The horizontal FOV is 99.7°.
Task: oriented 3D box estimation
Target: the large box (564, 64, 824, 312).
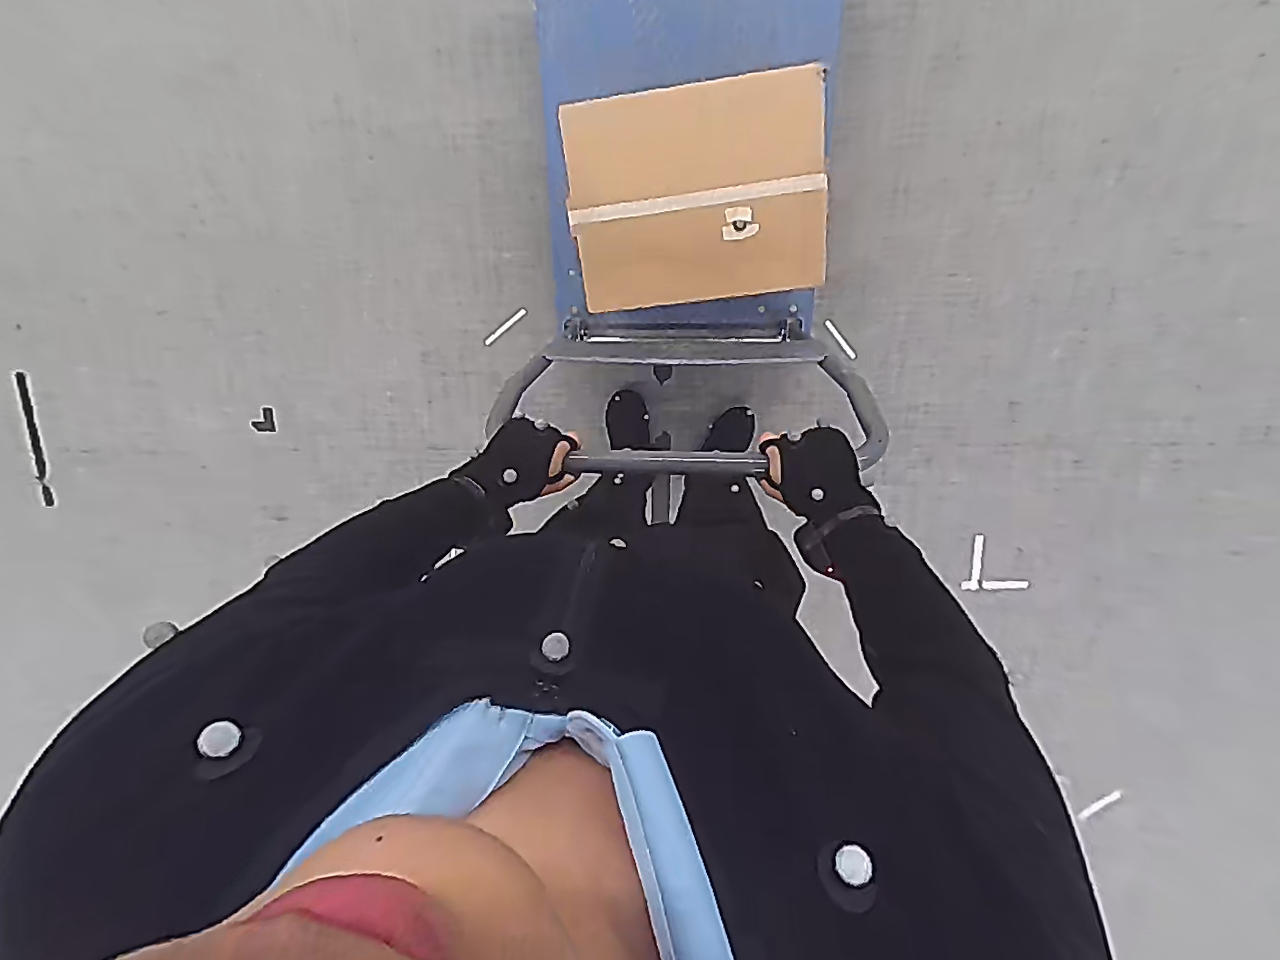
[{"bbox_3d":[0.102,-0.512,1.019,0.408,0.320,0.320,-6,112,6],"label":"large box"}]
